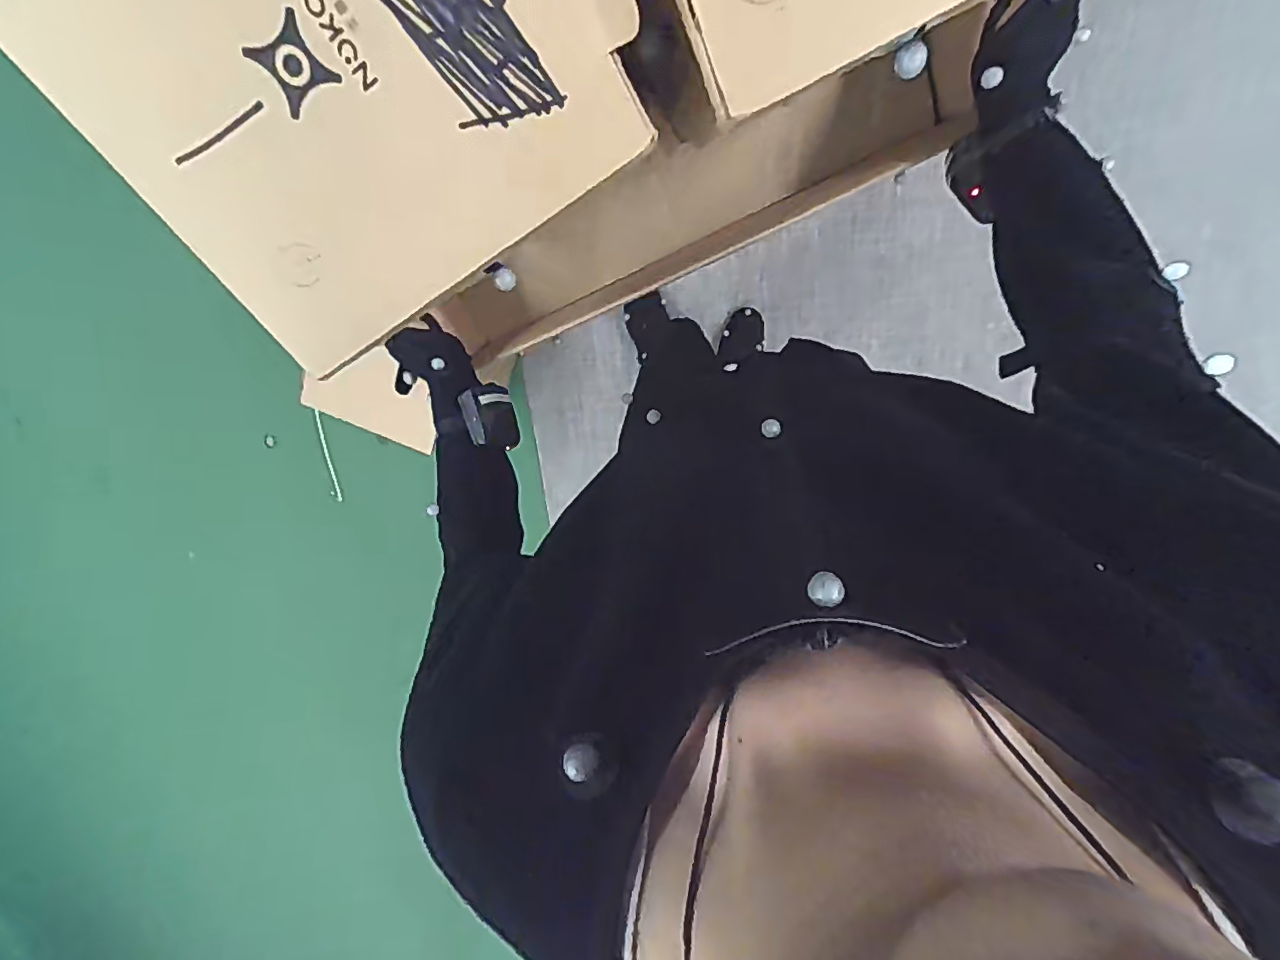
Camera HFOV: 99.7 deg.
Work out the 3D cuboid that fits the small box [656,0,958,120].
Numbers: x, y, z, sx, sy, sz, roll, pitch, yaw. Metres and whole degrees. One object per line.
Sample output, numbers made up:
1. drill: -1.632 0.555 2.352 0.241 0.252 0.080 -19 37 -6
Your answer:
1. small box: 0.078 -0.274 0.215 0.179 0.176 0.168 -21 116 13
